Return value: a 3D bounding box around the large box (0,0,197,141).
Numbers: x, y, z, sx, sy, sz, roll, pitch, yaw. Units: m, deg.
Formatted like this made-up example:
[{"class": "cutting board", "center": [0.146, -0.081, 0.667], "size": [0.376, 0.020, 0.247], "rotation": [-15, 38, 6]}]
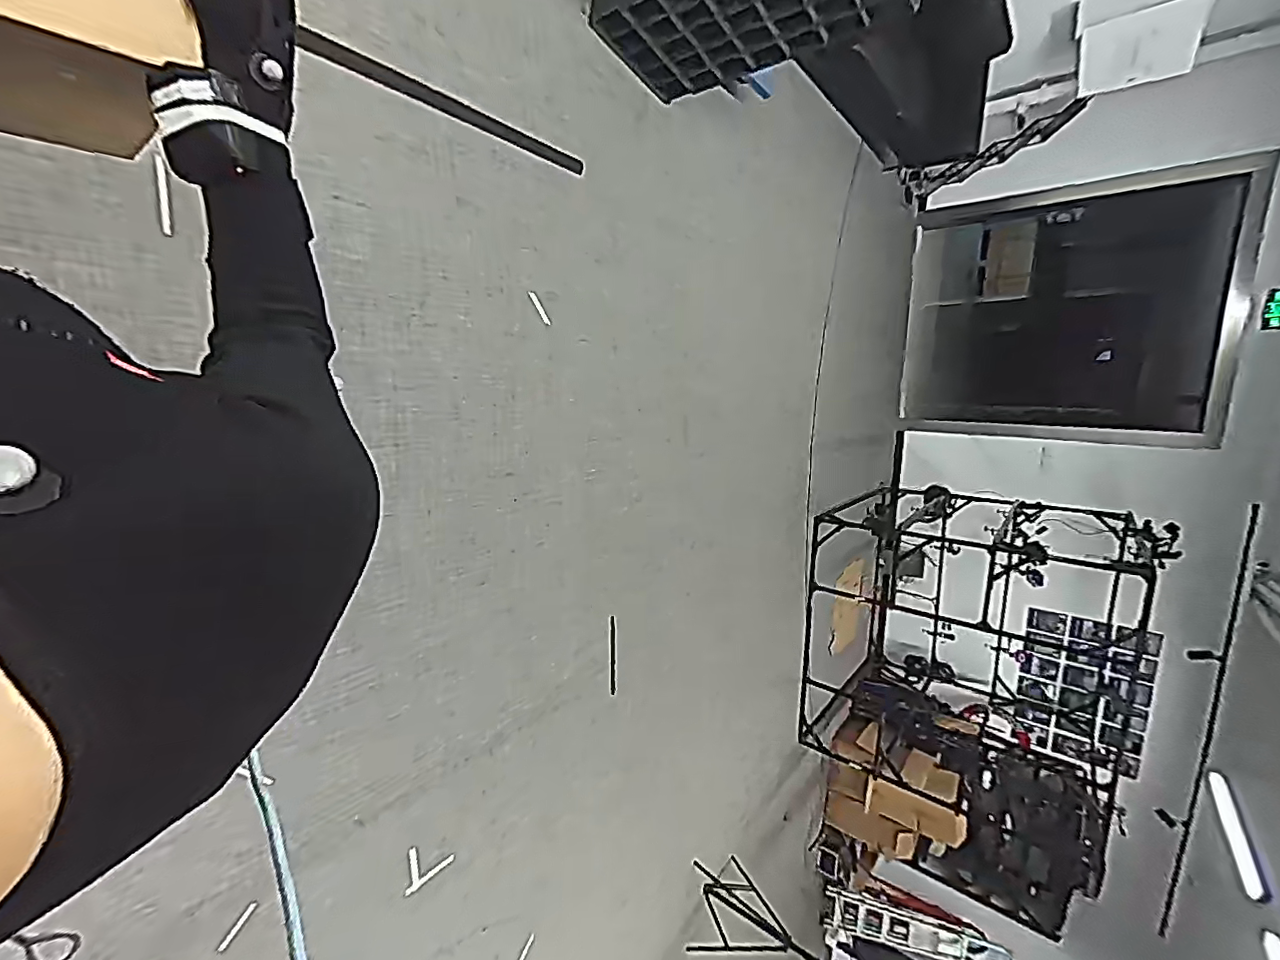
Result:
[{"class": "large box", "center": [-0.563, -0.449, 0.307], "size": [0.408, 0.320, 0.320], "rotation": [-13, 112, -49]}]
